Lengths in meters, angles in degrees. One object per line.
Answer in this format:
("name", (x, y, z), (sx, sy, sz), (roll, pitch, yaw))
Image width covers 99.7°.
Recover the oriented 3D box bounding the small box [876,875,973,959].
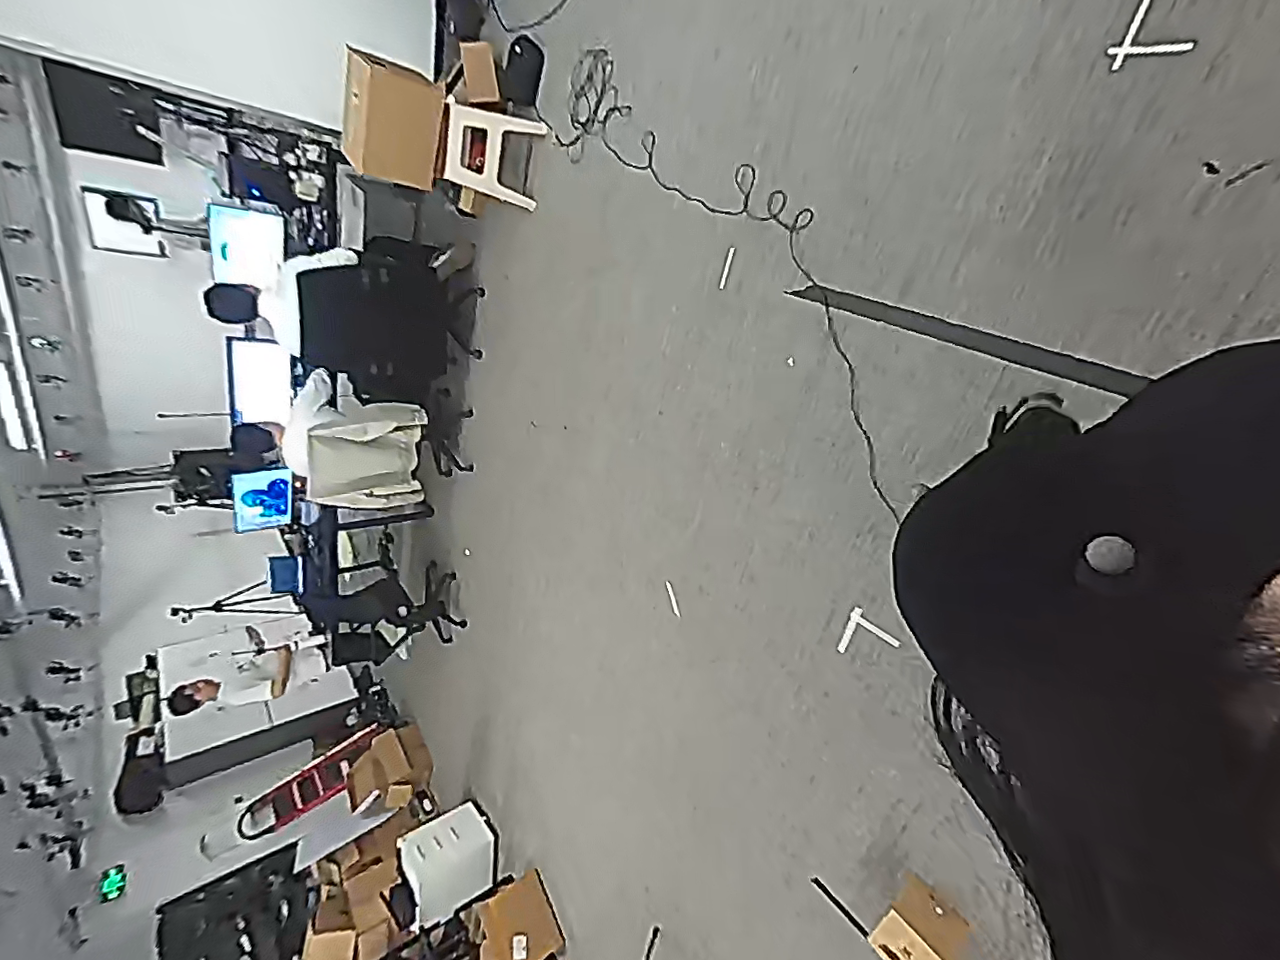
("small box", (0.826, 1.306, 1.564), (0.168, 0.176, 0.179), (37, 123, 38))
